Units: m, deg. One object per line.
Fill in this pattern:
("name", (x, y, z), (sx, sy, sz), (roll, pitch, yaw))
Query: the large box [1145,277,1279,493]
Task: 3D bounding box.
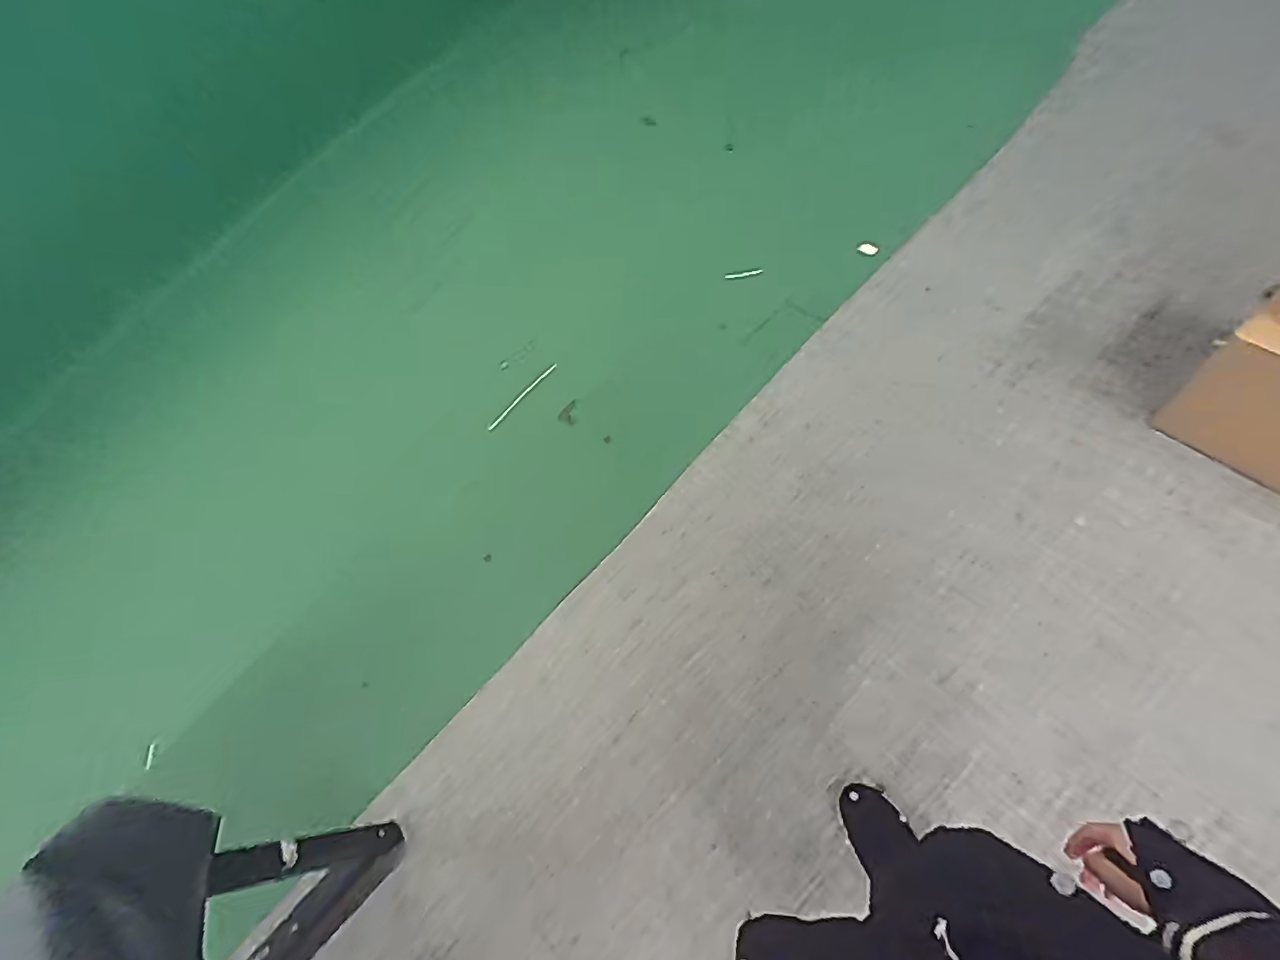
("large box", (1.285, -0.167, 0.970), (0.320, 0.320, 0.408), (-44, 60, -3))
